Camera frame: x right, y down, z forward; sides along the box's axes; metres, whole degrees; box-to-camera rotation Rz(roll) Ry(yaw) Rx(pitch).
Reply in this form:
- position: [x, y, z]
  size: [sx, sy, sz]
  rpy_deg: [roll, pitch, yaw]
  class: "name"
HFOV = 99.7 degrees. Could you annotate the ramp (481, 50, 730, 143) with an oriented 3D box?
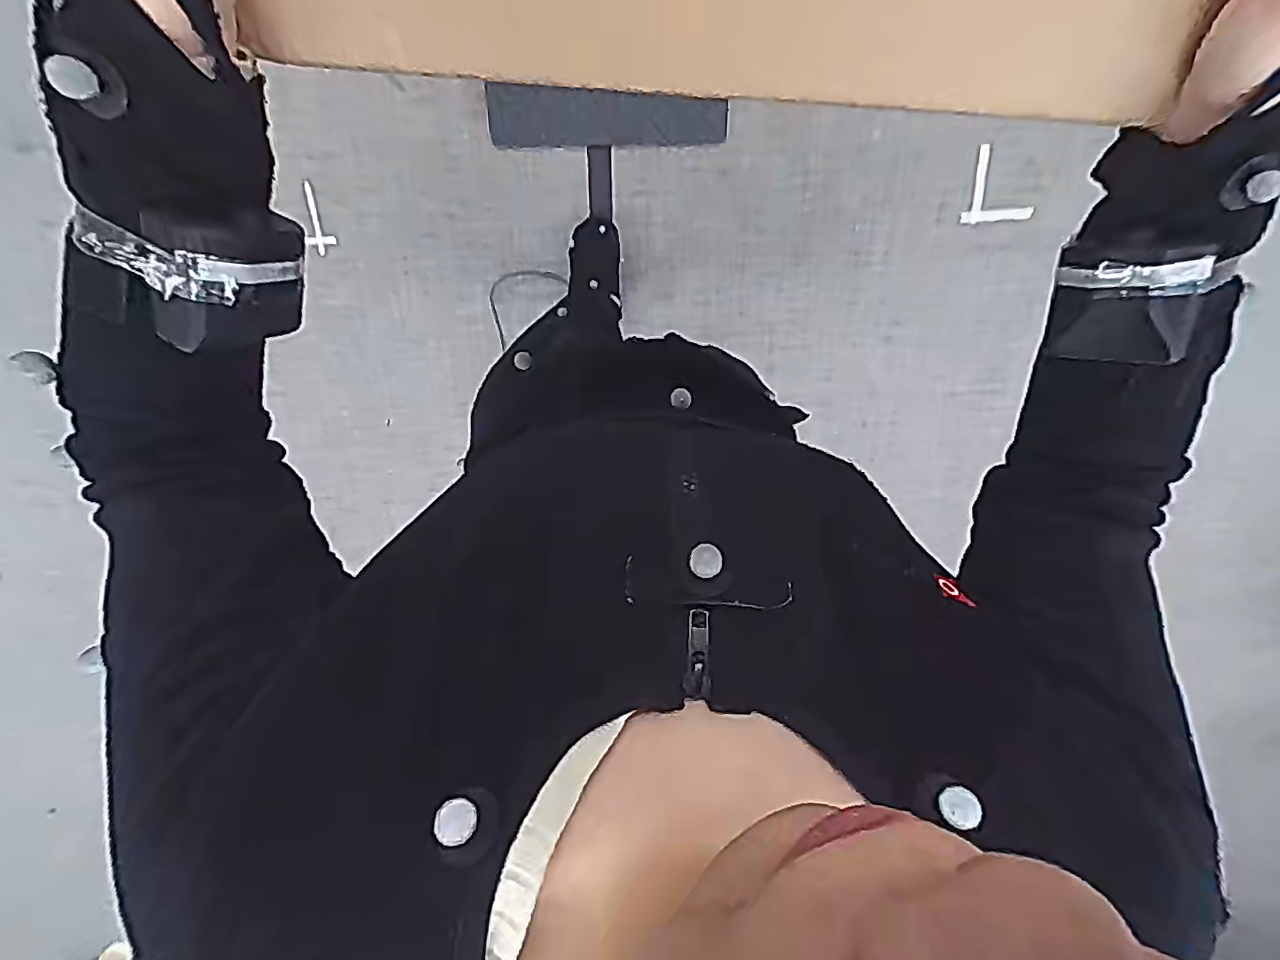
- position: [-0.065, -1.133, 0.870]
  size: [0.509, 0.206, 0.991]
  rpy_deg: [-5, 112, -4]
  class: "ramp"
